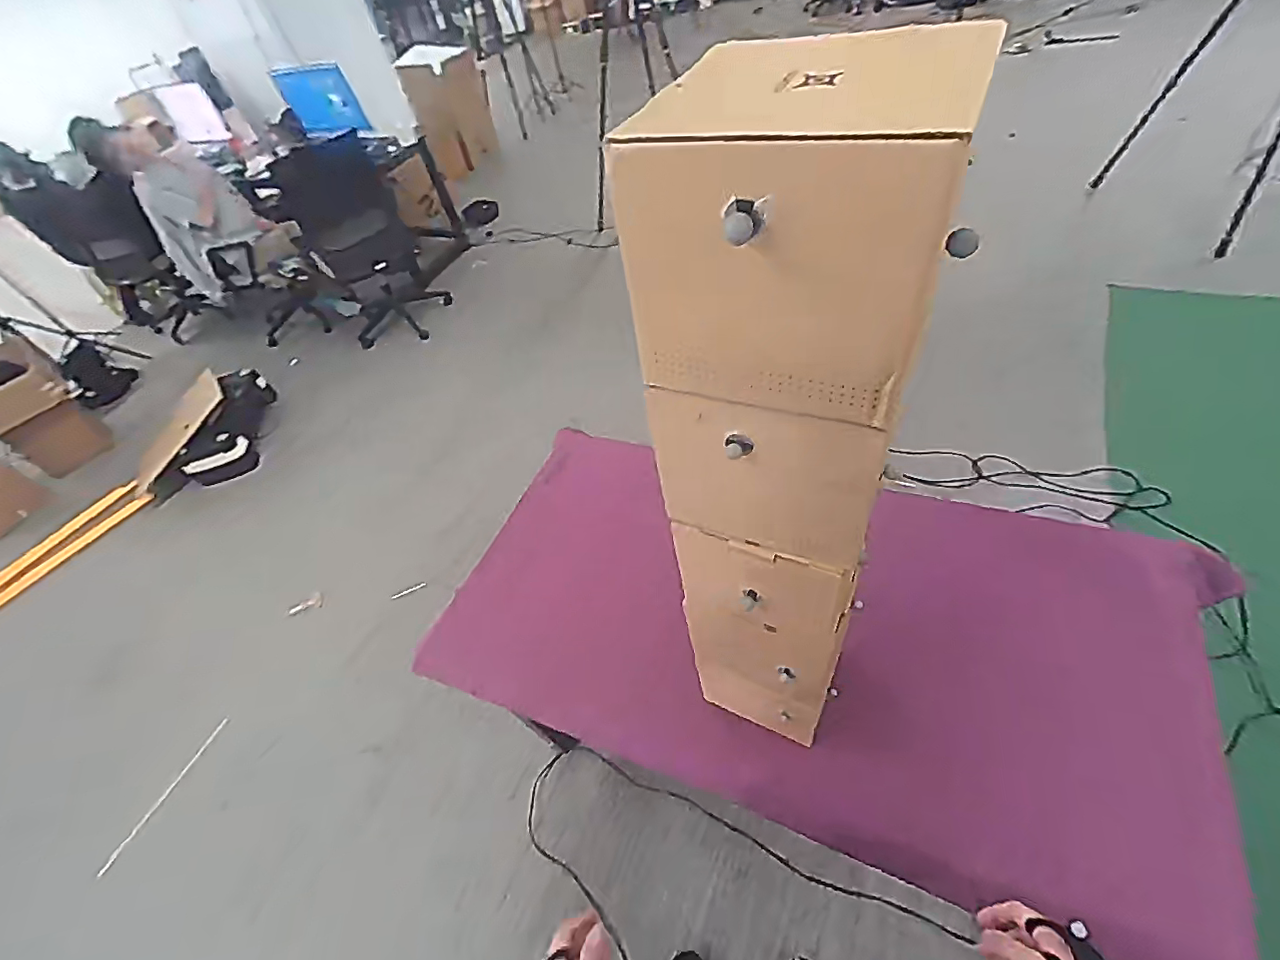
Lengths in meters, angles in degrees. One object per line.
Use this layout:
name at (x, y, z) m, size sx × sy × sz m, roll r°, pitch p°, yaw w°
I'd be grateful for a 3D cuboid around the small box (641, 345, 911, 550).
small box at (0.123, -0.062, 0.474) m, size 0.179 × 0.176 × 0.168 m, roll 15°, pitch 55°, yaw 23°

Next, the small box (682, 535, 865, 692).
small box at (0.176, 0.155, 0.714) m, size 0.179 × 0.176 × 0.168 m, roll 17°, pitch 56°, yaw 25°

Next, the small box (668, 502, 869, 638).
small box at (0.150, 0.045, 0.596) m, size 0.168 × 0.176 × 0.179 m, roll 17°, pitch 56°, yaw 25°

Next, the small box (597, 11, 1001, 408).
small box at (0.102, -0.167, 0.352) m, size 0.179 × 0.176 × 0.168 m, roll 15°, pitch 55°, yaw 25°
